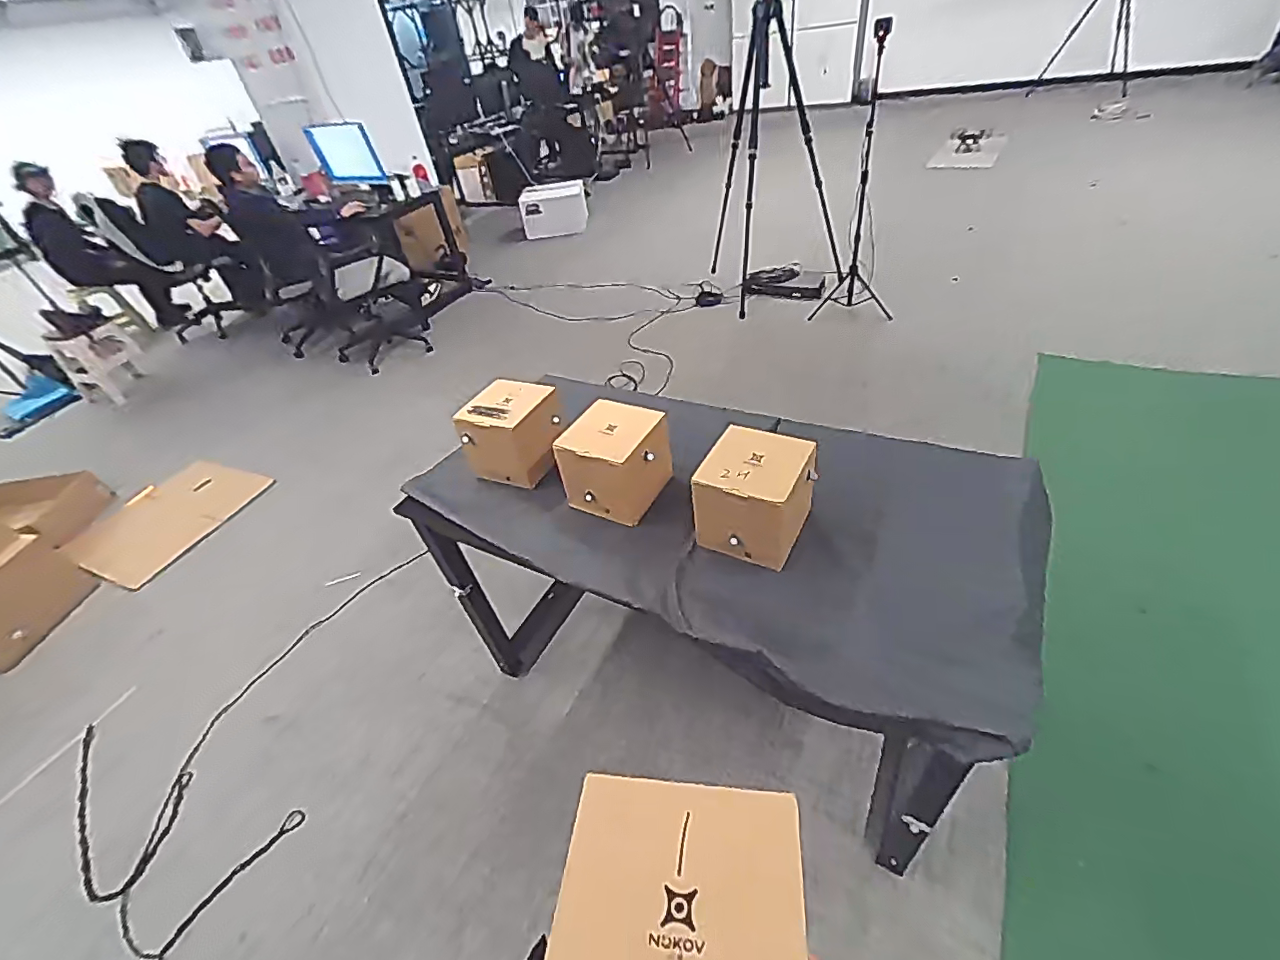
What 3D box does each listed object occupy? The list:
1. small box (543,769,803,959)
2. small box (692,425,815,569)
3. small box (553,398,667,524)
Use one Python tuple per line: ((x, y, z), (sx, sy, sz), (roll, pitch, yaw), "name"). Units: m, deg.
((0.034, 0.350, 0.404), (0.168, 0.176, 0.179), (0, 39, 12), "small box")
((0.207, 0.029, 0.992), (0.168, 0.176, 0.179), (16, 47, 27), "small box")
((-0.052, -0.041, 1.123), (0.168, 0.176, 0.179), (16, 48, 26), "small box")
